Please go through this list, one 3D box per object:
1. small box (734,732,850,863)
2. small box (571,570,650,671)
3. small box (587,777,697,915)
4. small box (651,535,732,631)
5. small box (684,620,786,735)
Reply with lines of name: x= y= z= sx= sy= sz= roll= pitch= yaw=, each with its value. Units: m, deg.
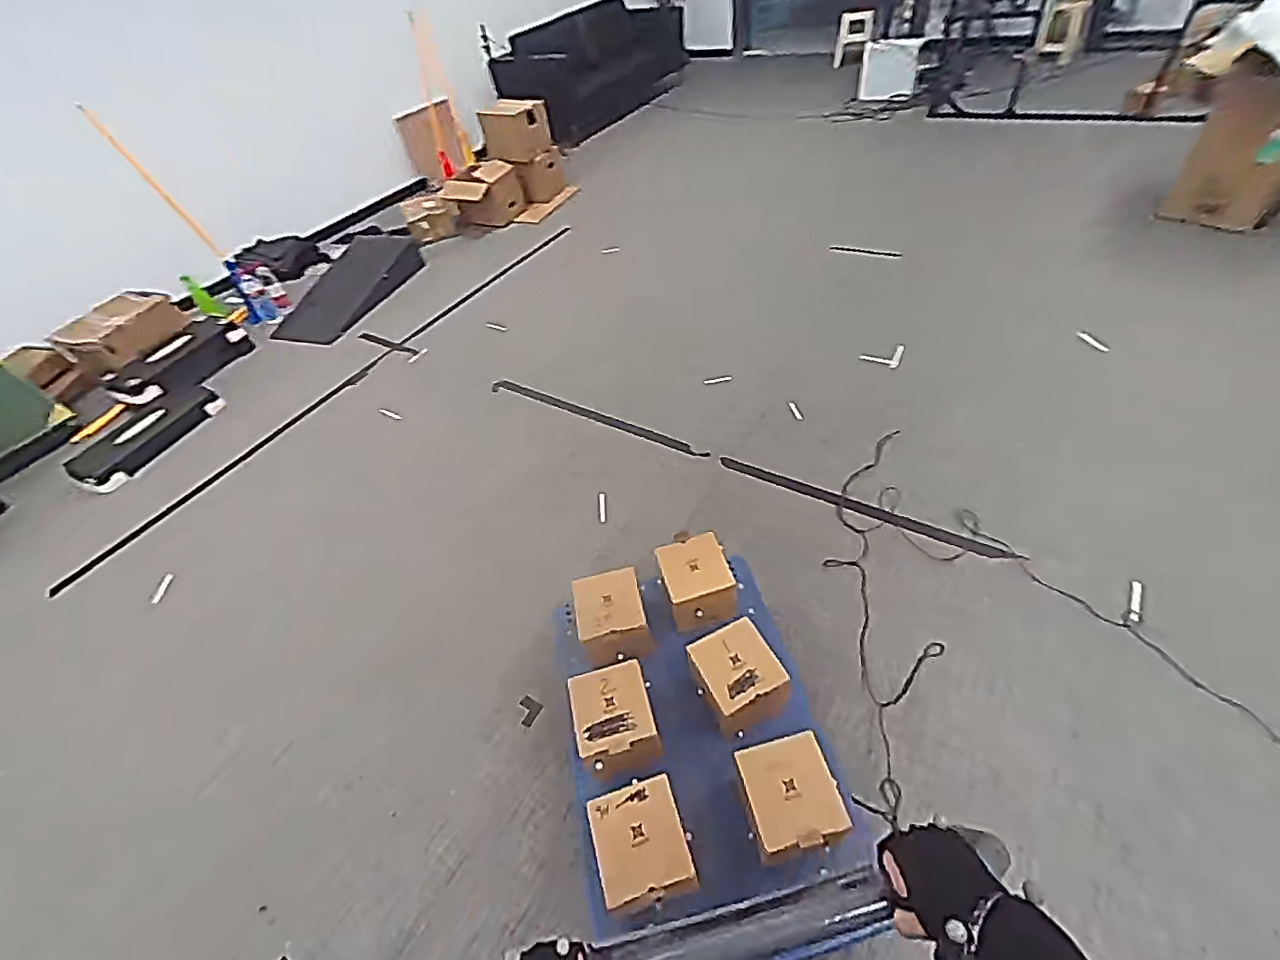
small box: x=0.294 y=0.639 z=1.081 sx=0.168 sy=0.176 sz=0.179 roll=-14 pitch=46 yaw=-4
small box: x=-0.075 y=0.365 z=1.398 sx=0.168 sy=0.176 sz=0.179 roll=-14 pitch=47 yaw=-3
small box: x=0.007 y=0.718 z=1.054 sx=0.168 sy=0.176 sz=0.179 roll=-16 pitch=47 yaw=-7
small box: x=0.140 y=0.282 z=1.442 sx=0.168 sy=0.176 sz=0.179 roll=-17 pitch=47 yaw=-6
small box: x=0.219 y=0.465 z=1.256 sx=0.168 sy=0.176 sz=0.179 roll=-23 pitch=47 yaw=-12
